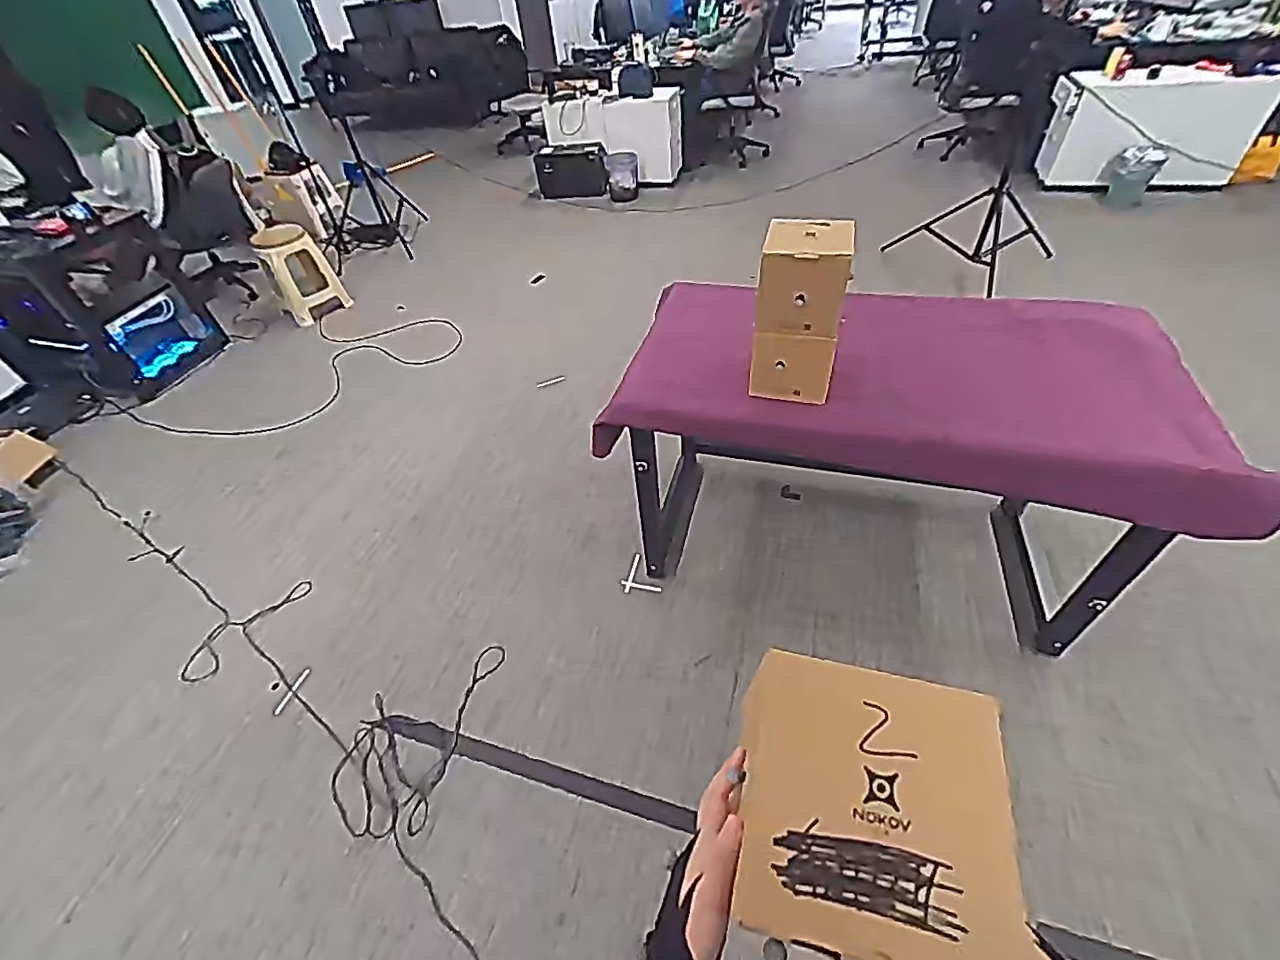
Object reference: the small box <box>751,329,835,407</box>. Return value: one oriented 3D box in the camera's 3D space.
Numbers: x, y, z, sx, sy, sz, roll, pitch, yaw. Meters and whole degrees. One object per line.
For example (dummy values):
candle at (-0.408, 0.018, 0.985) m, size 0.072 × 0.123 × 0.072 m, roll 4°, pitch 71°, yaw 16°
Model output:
small box at (0.348, -0.285, 1.224) m, size 0.168 × 0.176 × 0.179 m, roll 10°, pitch 46°, yaw 15°

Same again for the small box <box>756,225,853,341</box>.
small box at (0.335, -0.404, 1.112) m, size 0.168 × 0.176 × 0.179 m, roll 9°, pitch 47°, yaw 14°
